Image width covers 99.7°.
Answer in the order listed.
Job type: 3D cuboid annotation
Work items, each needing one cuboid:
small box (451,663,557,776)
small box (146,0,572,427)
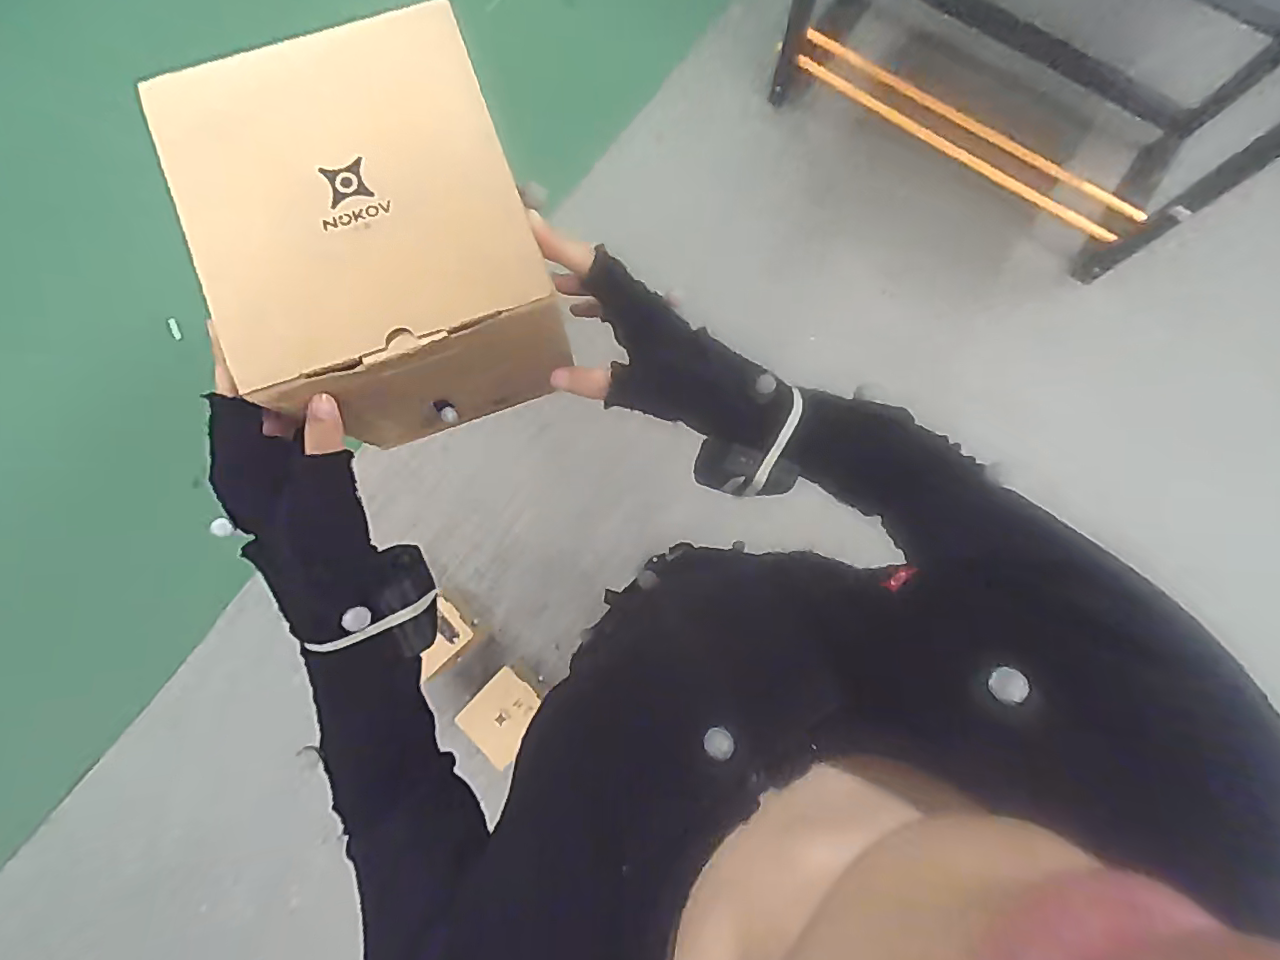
[{"bbox_3d":[-0.322,0.576,1.326,0.168,0.176,0.179,43,80,7],"label":"small box"},{"bbox_3d":[-0.150,-0.152,0.352,0.168,0.176,0.179,-19,86,-5],"label":"small box"}]
